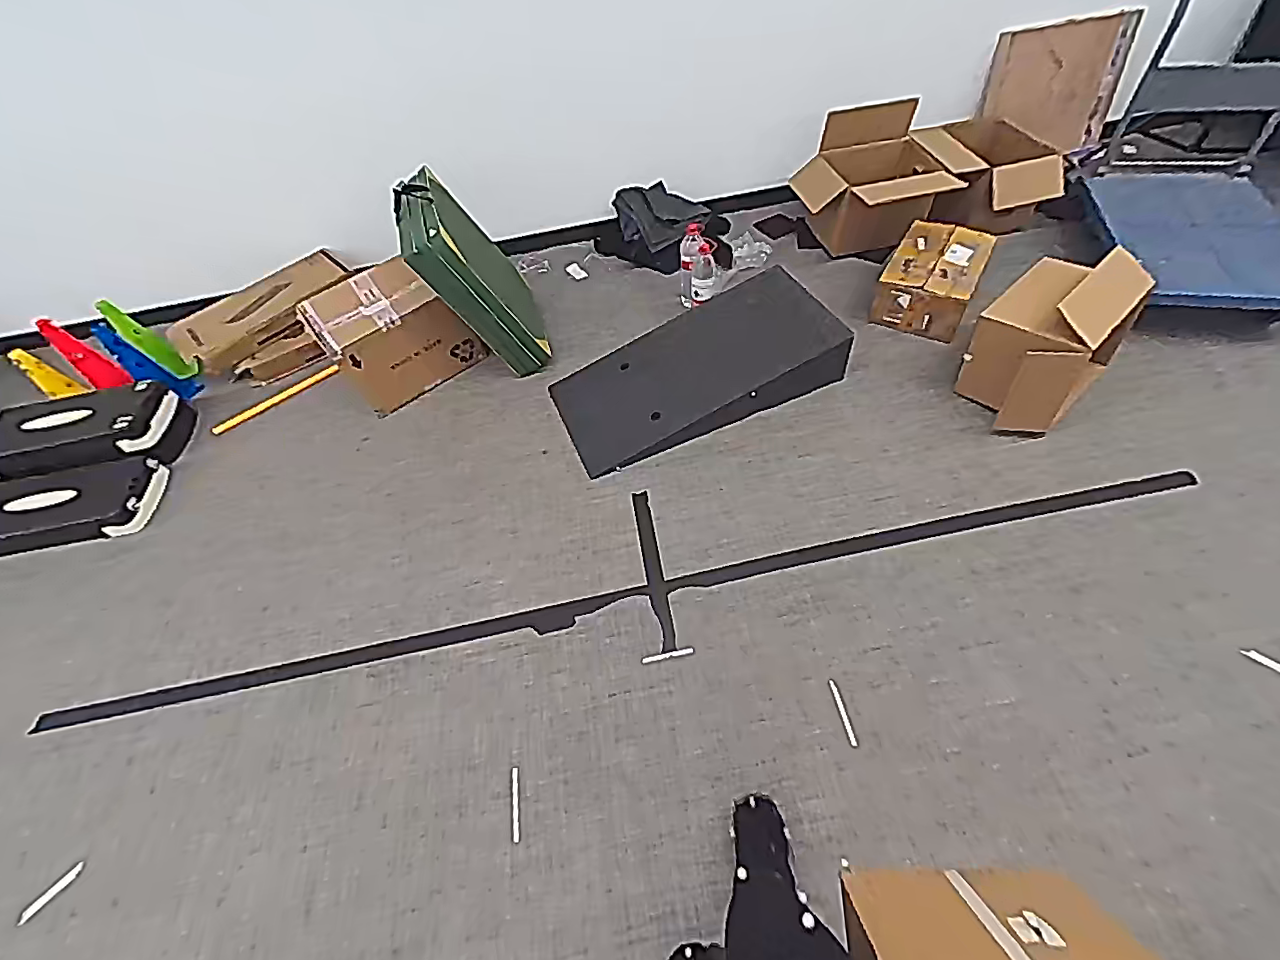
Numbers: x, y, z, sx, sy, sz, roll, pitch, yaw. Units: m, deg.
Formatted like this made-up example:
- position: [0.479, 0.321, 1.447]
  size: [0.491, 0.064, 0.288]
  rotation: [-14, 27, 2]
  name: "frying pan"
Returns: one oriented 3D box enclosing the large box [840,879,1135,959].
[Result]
- position: [0.442, 0.719, 0.586]
  size: [0.320, 0.408, 0.320]
  rotation: [-2, 80, 5]
  name: "large box"
